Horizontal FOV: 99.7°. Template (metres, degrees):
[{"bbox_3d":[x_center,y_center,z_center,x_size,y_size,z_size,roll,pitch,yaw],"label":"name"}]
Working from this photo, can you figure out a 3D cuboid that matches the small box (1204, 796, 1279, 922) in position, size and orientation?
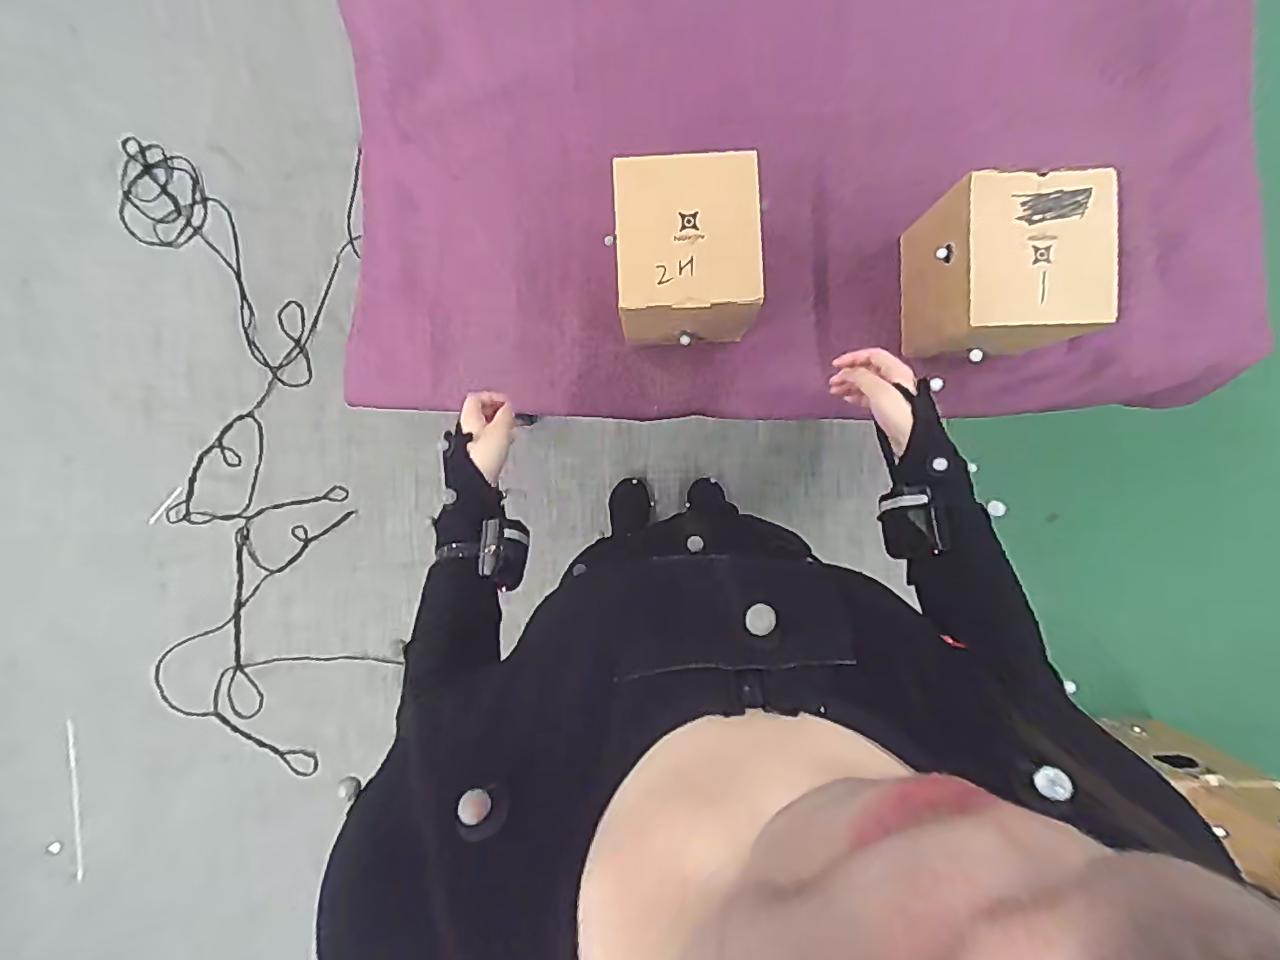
[{"bbox_3d":[1.312,0.765,1.087,0.179,0.176,0.168,1,91,1],"label":"small box"}]

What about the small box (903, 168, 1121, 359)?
[{"bbox_3d":[0.447,-0.257,0.676,0.168,0.176,0.179,-1,91,2],"label":"small box"}]

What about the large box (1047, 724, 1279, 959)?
[{"bbox_3d":[1.266,0.867,1.332,0.320,0.320,0.408,0,91,2],"label":"large box"}]

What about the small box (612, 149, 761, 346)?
[{"bbox_3d":[0.053,-0.279,0.682,0.168,0.176,0.179,-2,89,2],"label":"small box"}]
